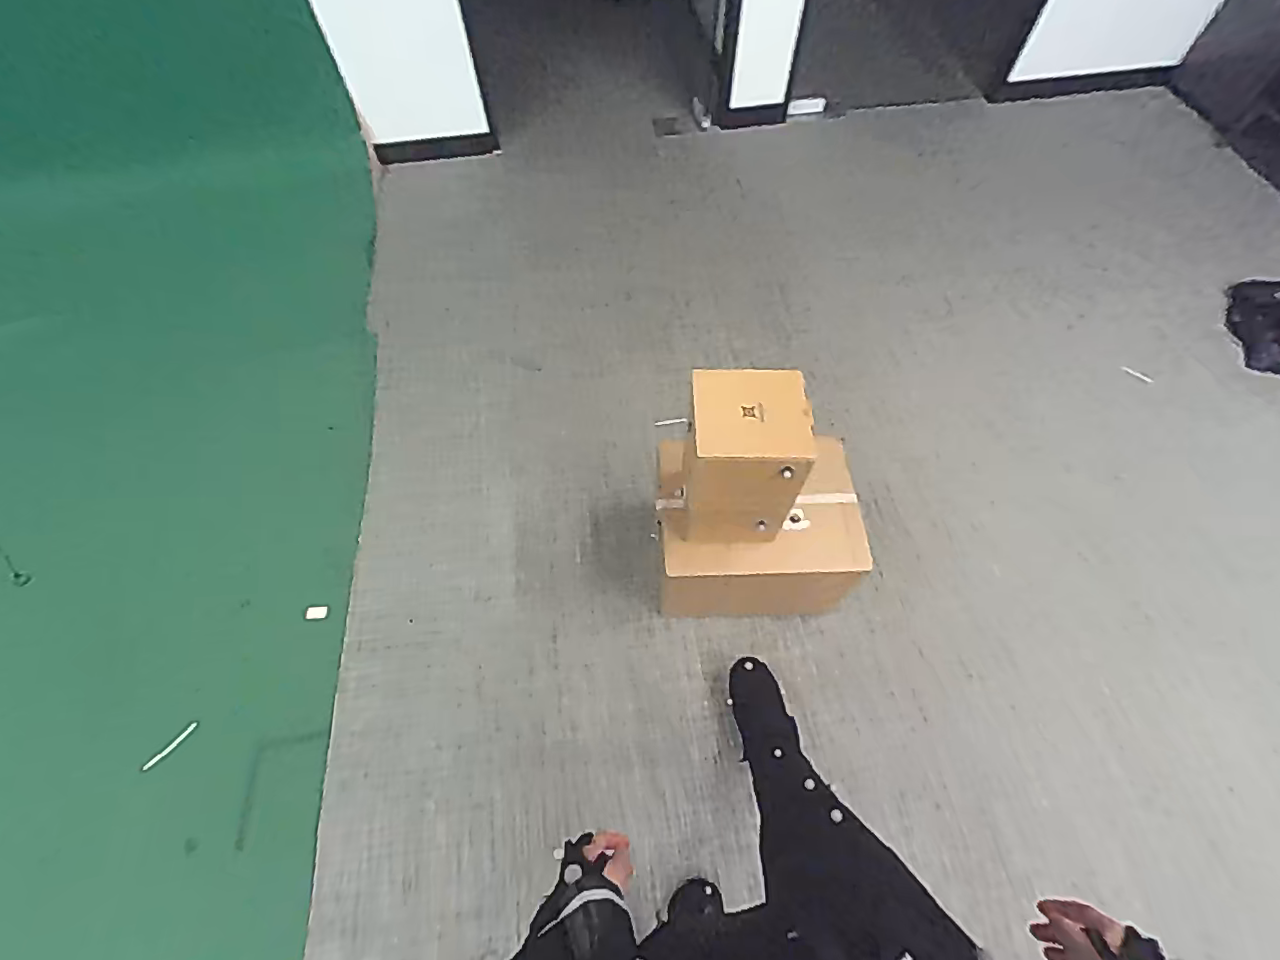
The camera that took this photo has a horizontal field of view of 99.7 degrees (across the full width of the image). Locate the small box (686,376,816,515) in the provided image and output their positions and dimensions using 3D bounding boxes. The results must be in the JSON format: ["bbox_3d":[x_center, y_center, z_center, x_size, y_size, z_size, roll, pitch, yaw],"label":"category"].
[{"bbox_3d":[0.166,-0.051,0.876,0.179,0.176,0.168,1,59,-1],"label":"small box"}]

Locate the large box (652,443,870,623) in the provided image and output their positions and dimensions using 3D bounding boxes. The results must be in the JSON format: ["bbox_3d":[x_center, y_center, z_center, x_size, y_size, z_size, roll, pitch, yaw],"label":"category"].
[{"bbox_3d":[0.240,0.131,1.238,0.408,0.320,0.320,-1,62,-2],"label":"large box"}]

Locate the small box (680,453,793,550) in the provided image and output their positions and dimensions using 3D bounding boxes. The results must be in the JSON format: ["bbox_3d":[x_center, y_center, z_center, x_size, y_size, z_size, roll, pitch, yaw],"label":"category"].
[{"bbox_3d":[0.172,0.024,1.020,0.179,0.176,0.168,-2,59,0],"label":"small box"}]
